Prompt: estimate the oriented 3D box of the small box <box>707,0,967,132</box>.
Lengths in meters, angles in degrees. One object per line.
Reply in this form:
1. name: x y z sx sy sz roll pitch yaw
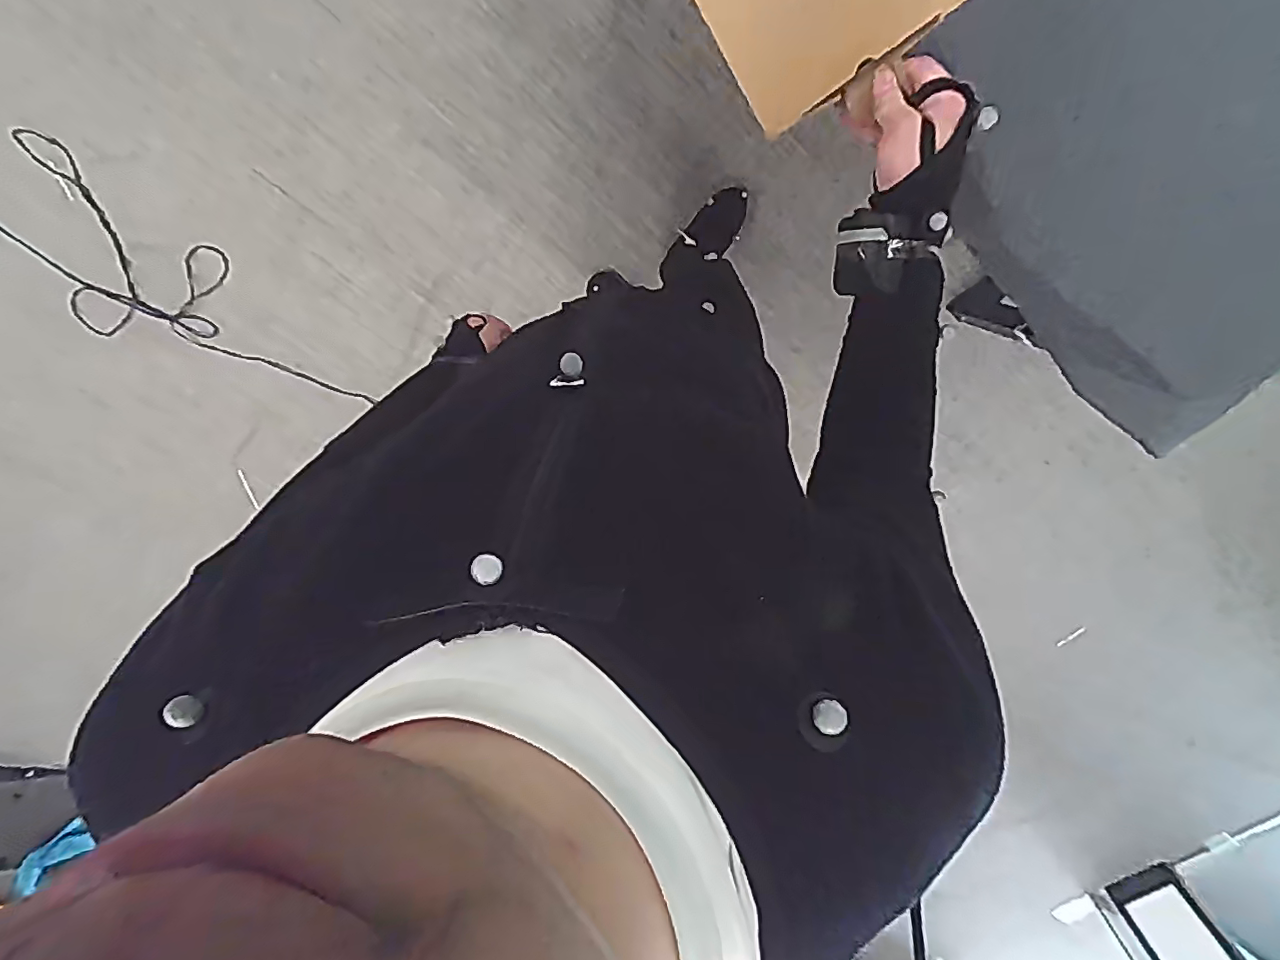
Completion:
1. small box: 0.145 -0.425 0.422 0.168 0.176 0.179 -21 124 35
